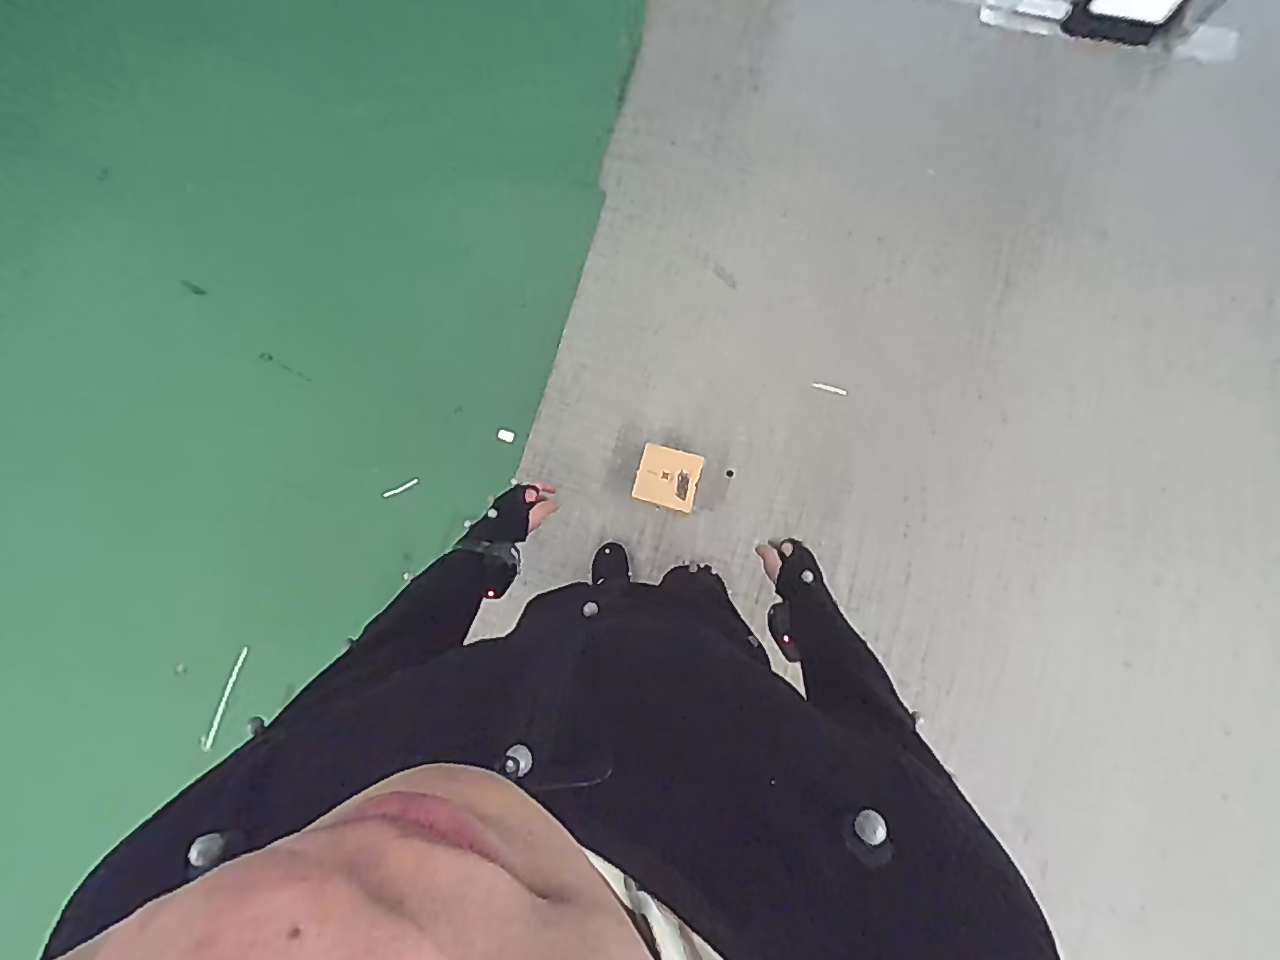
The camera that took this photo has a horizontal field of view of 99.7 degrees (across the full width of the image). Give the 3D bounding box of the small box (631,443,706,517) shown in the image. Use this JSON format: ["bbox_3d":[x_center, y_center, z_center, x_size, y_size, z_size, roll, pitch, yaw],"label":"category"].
[{"bbox_3d":[0.084,0.007,1.585,0.179,0.176,0.168,16,82,6],"label":"small box"}]
